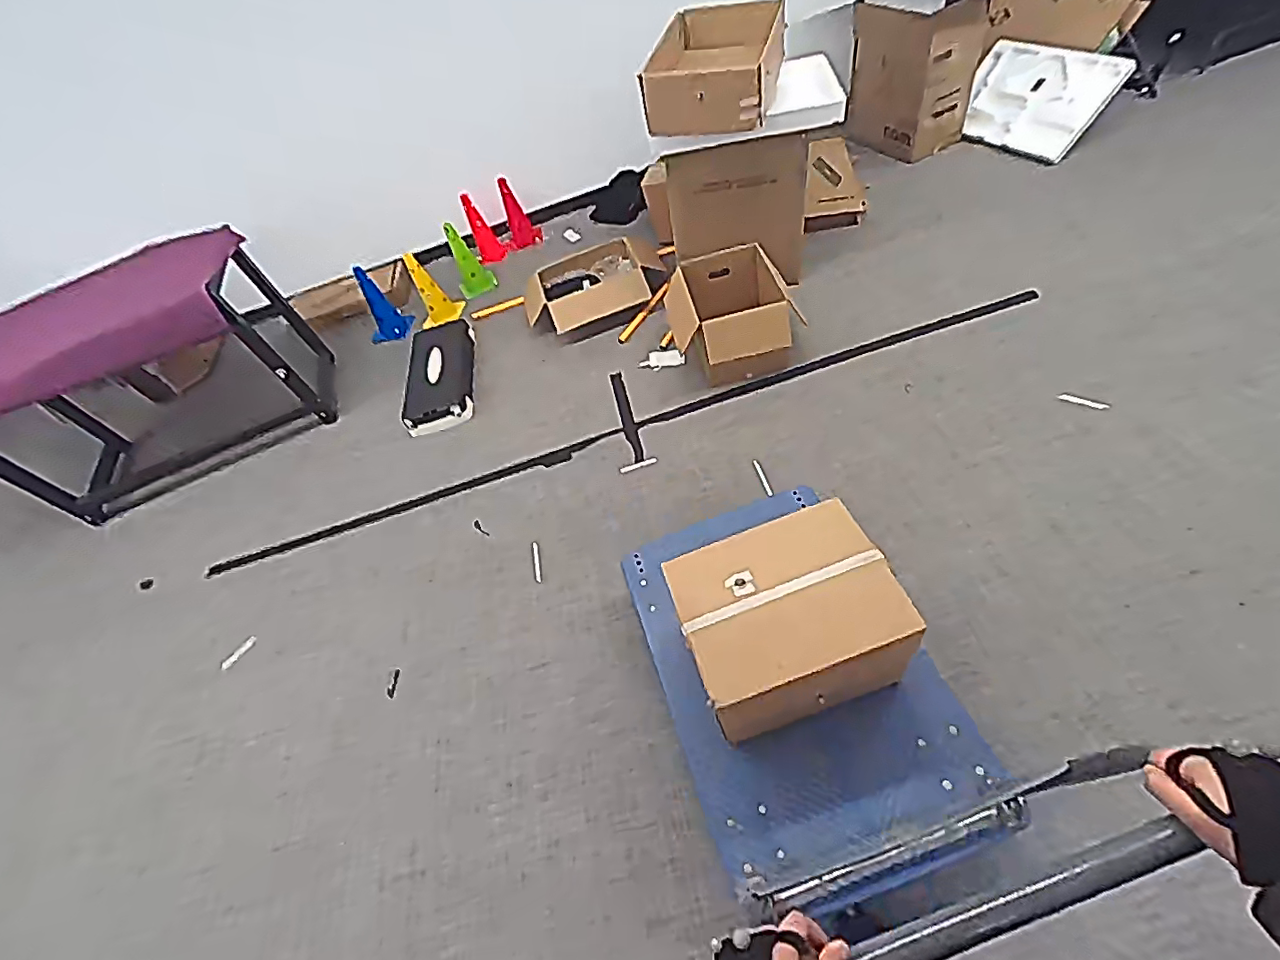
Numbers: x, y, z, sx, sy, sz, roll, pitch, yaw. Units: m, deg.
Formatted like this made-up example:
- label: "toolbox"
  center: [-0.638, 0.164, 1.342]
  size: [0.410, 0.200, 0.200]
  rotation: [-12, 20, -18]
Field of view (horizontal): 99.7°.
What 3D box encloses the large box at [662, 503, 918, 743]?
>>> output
- label: "large box"
  center: [0.307, 0.316, 1.172]
  size: [0.408, 0.320, 0.320]
  rotation: [-22, 50, 0]
